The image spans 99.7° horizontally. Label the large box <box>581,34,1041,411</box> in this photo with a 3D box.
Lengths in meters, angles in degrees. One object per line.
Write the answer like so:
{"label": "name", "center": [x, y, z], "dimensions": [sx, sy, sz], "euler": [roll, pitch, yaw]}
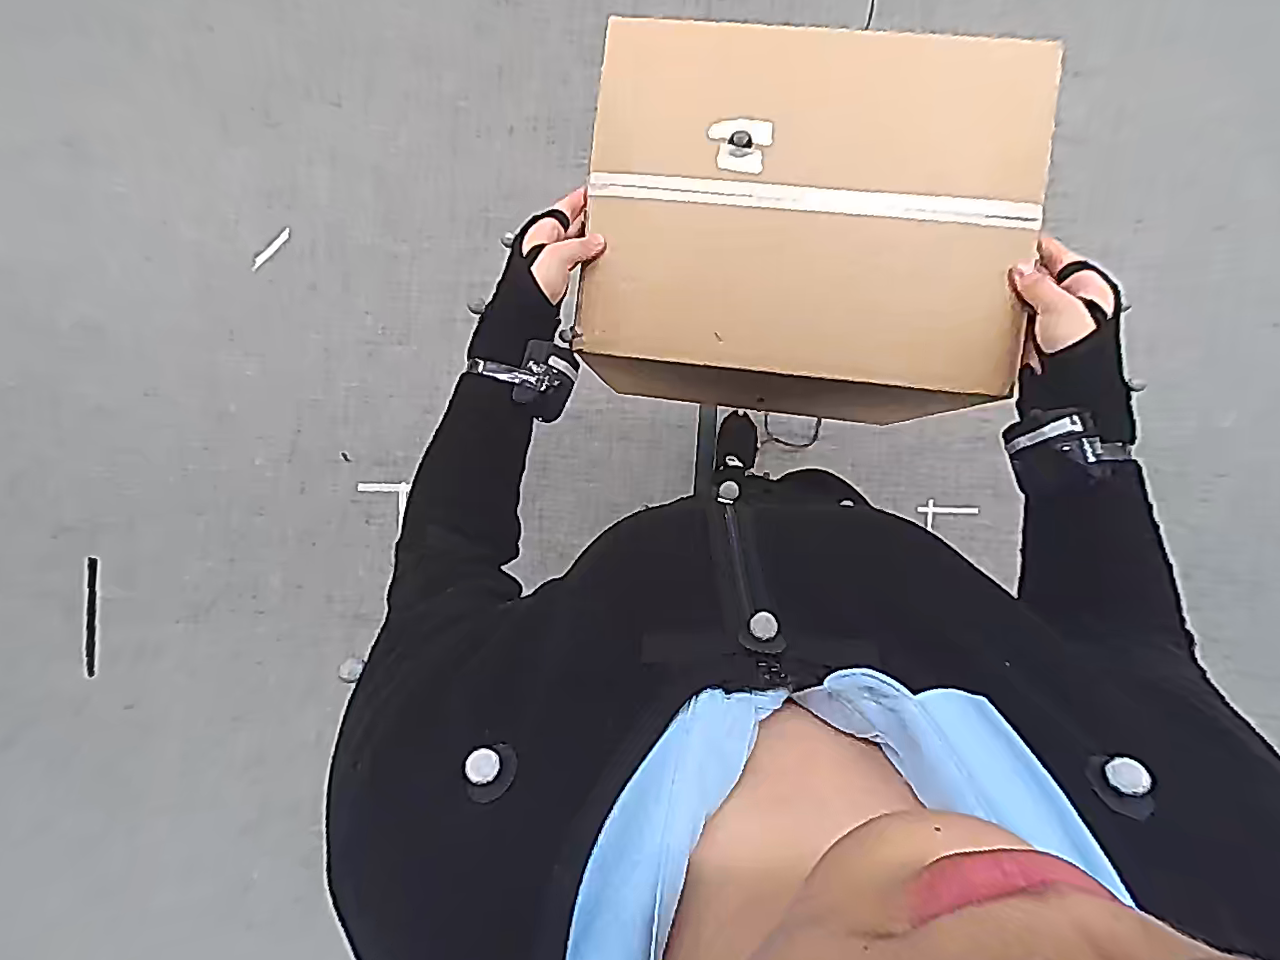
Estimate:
{"label": "large box", "center": [0.167, -0.264, 0.655], "dimensions": [0.408, 0.320, 0.320], "euler": [6, 90, 5]}
